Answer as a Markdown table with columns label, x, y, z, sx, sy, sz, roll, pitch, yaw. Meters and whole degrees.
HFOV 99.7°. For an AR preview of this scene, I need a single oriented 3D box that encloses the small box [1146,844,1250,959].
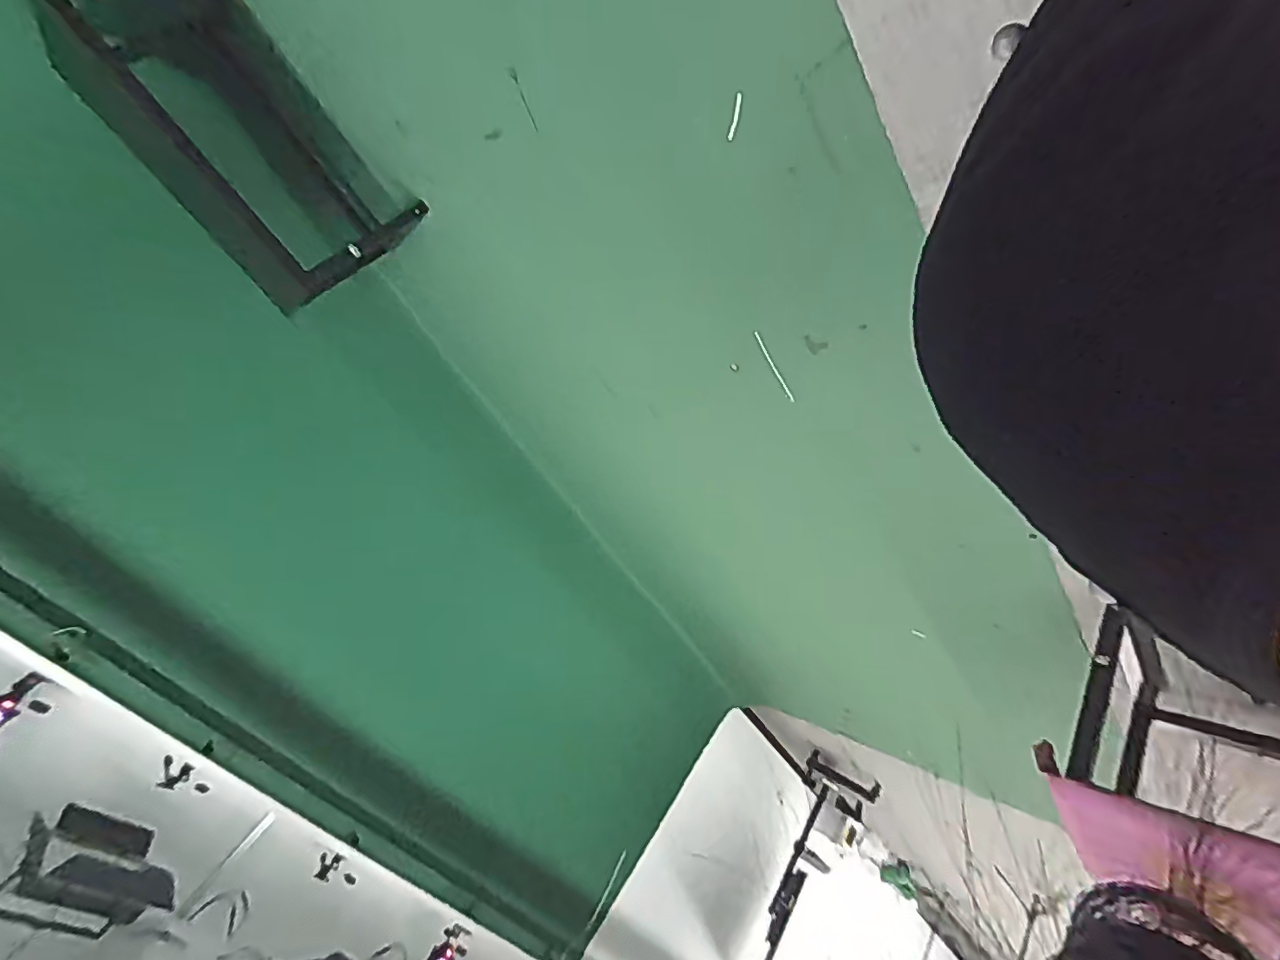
| label | x | y | z | sx | sy | sz | roll | pitch | yaw |
| --- | --- | --- | --- | --- | --- | --- | --- | --- | --- |
| small box | 1.381 | 1.053 | 1.340 | 0.168 | 0.176 | 0.179 | 3 | 136 | 51 |
